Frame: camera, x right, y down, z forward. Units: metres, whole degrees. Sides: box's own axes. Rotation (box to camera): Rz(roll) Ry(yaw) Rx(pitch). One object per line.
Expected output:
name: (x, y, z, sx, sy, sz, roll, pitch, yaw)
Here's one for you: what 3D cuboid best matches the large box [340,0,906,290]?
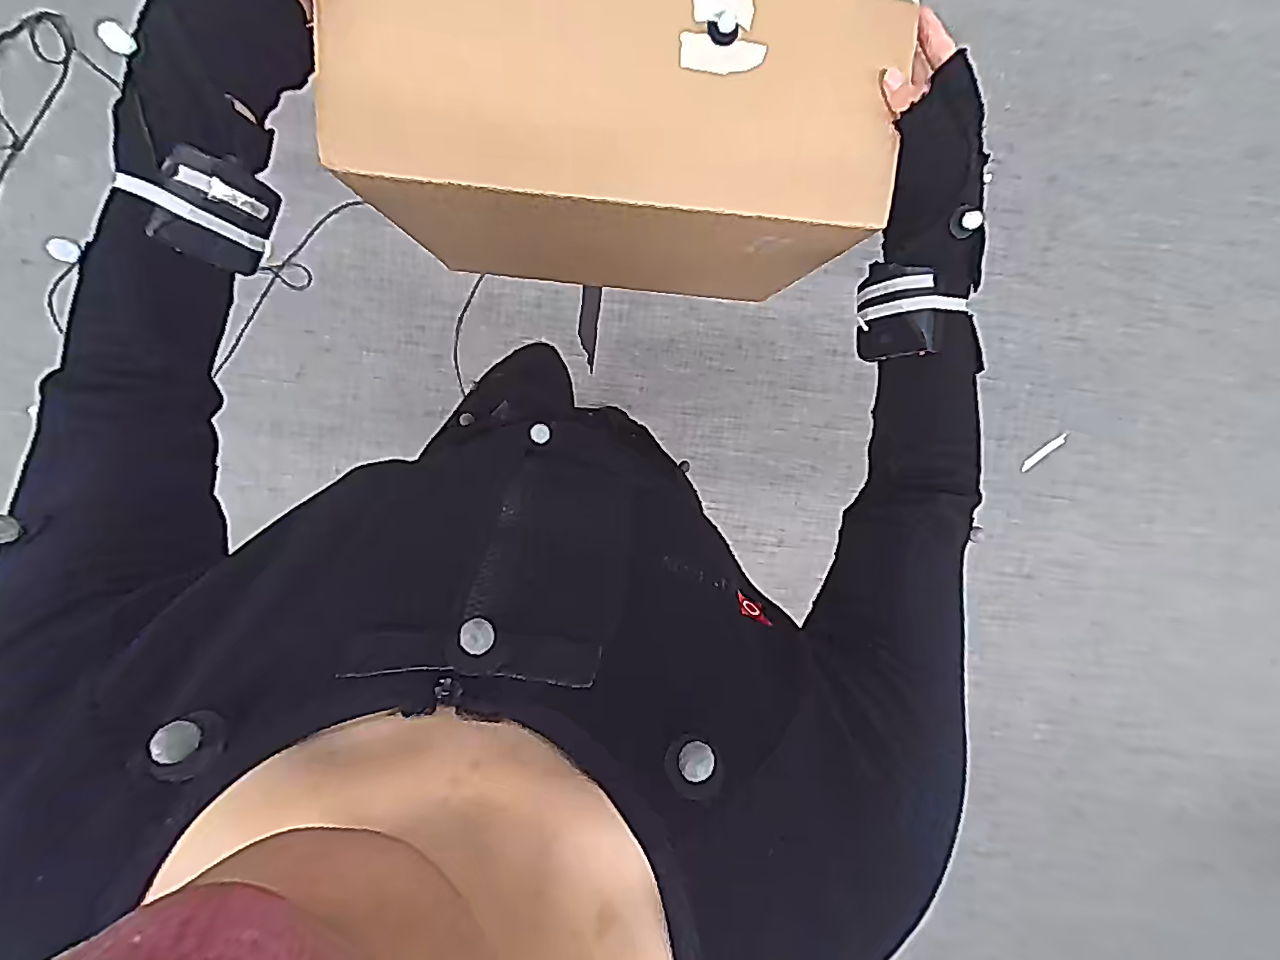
large box: (-0.015, -0.385, 0.522, 0.408, 0.320, 0.320, 4, 99, -5)
